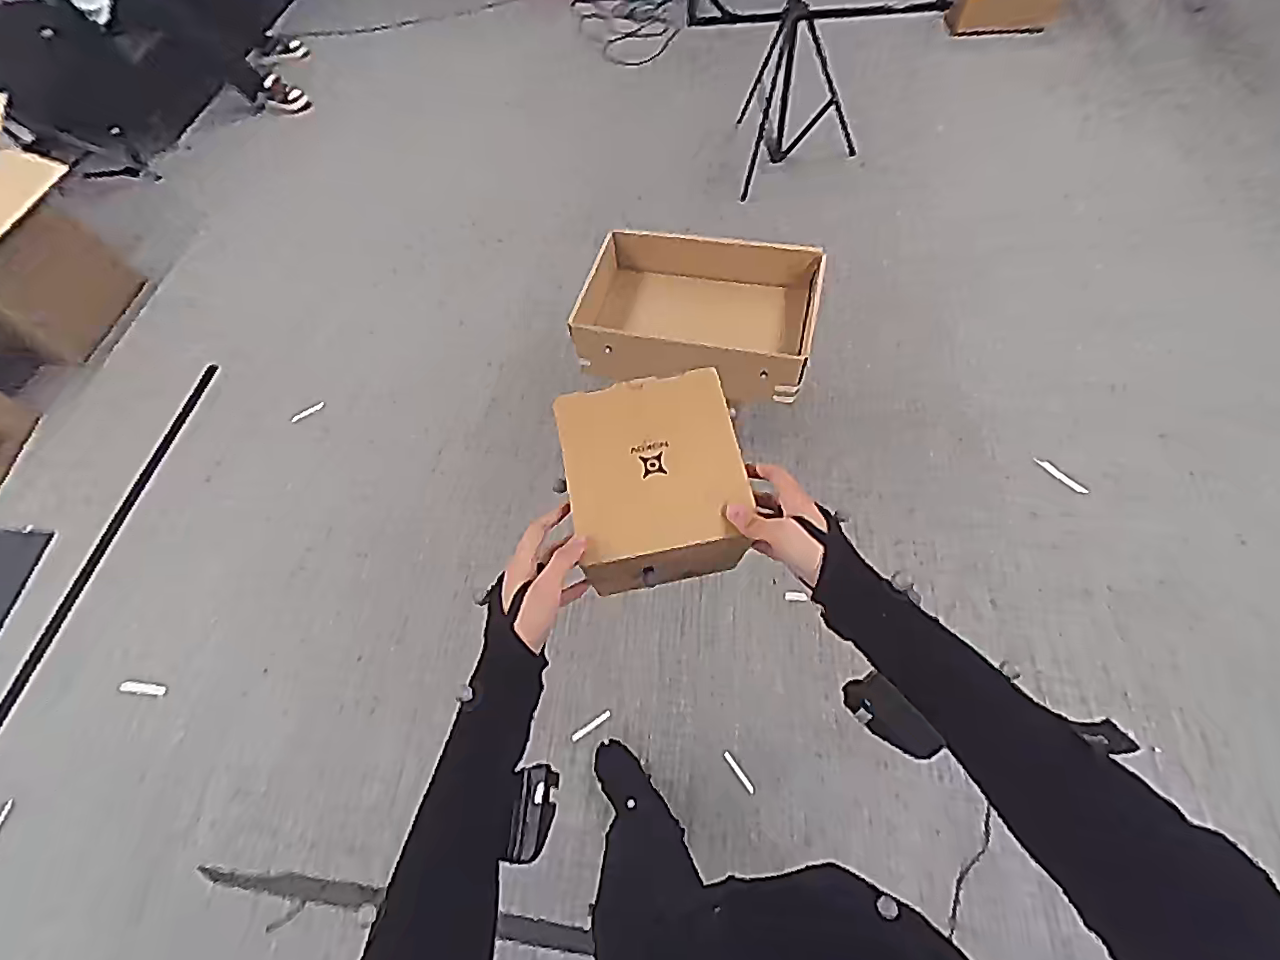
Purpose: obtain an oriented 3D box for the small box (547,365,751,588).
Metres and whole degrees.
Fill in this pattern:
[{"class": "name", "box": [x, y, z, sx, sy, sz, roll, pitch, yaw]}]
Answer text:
[{"class": "small box", "box": [0.008, 0.009, 0.572, 0.168, 0.176, 0.179, -11, 68, -3]}]
